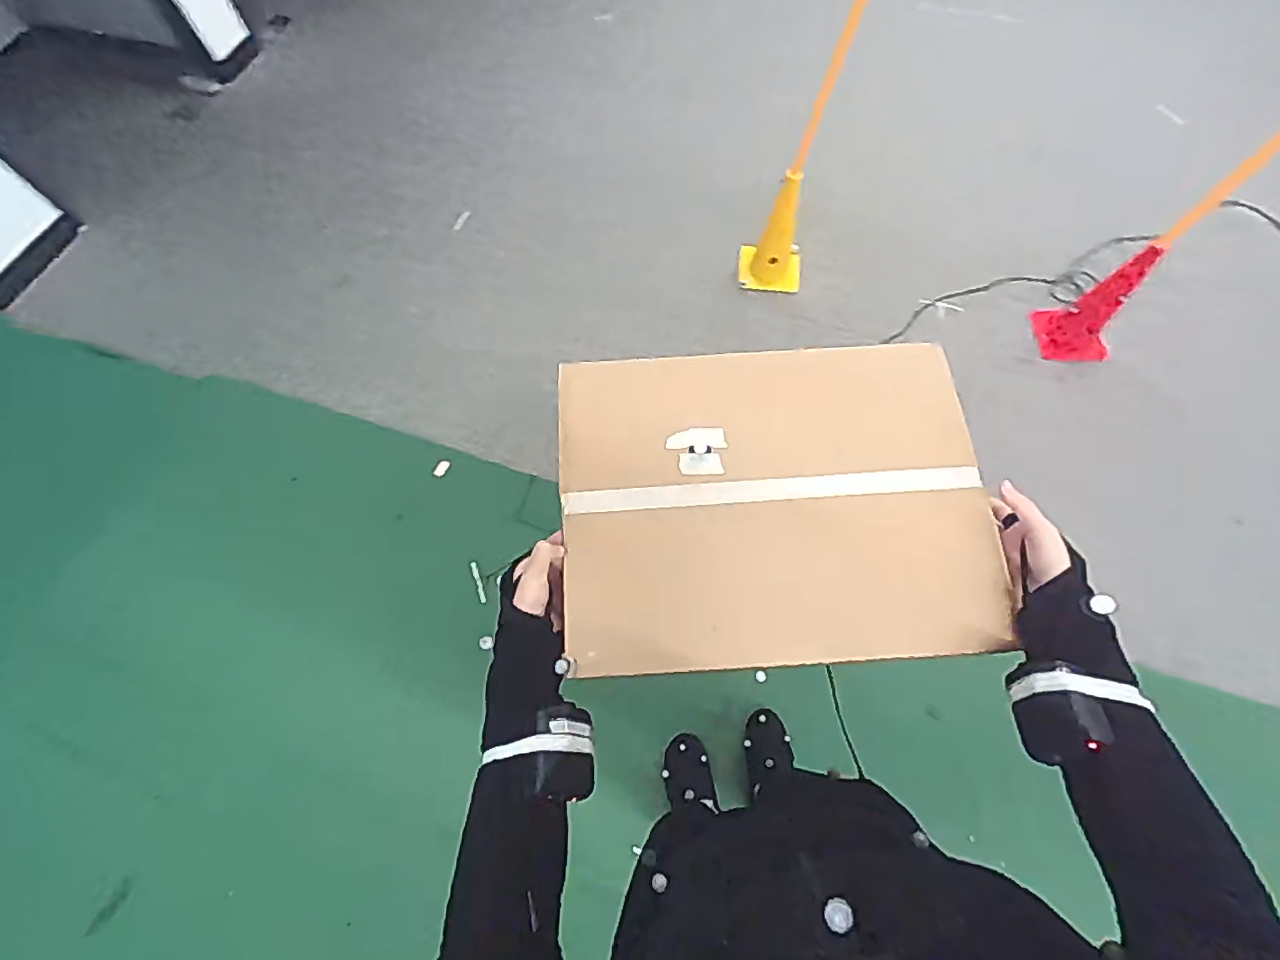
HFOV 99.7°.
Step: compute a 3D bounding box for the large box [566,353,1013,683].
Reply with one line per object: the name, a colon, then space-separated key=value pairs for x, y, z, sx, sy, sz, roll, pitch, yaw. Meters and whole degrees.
large box: x=0.135 y=0.070 z=0.672 sx=0.408 sy=0.320 sz=0.320 roll=-4 pitch=70 yaw=1
